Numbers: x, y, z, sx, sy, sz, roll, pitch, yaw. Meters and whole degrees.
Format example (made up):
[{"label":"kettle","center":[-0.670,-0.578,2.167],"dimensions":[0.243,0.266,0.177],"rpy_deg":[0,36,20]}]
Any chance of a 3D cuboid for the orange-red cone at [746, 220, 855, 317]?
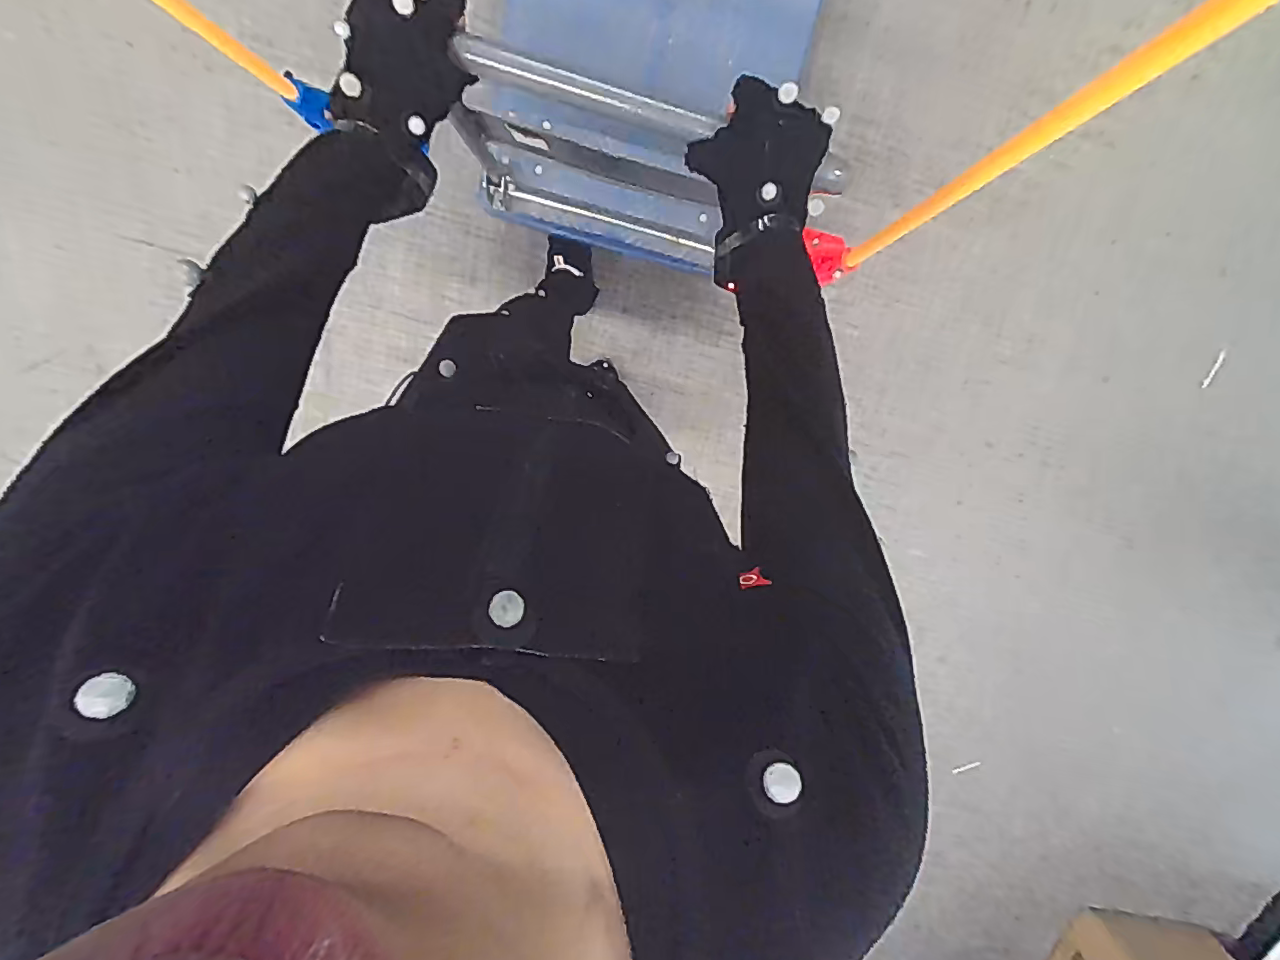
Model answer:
[{"label":"orange-red cone","center":[0.383,-0.477,1.190],"dimensions":[0.199,0.360,0.198],"rpy_deg":[15,106,-5]}]
